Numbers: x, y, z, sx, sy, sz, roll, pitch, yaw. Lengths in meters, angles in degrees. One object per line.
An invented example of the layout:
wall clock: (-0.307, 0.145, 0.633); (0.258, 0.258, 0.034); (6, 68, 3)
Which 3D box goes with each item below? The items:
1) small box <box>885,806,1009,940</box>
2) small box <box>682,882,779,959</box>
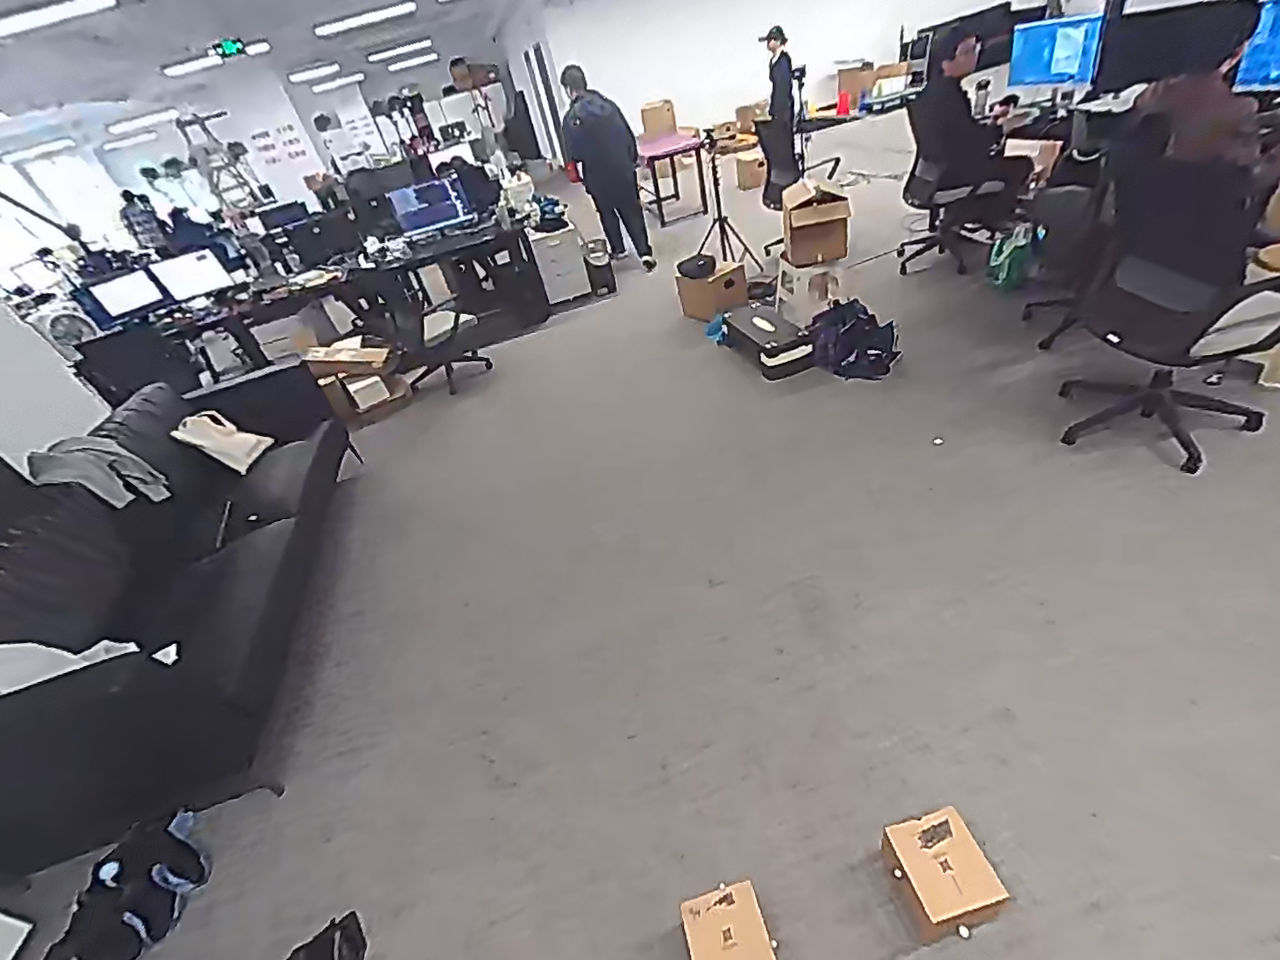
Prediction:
small box: (0.655, 0.858, 1.181); (0.168, 0.176, 0.179); (-18, 38, -1)
small box: (0.204, 1.010, 1.157); (0.168, 0.176, 0.179); (-18, 37, -2)
